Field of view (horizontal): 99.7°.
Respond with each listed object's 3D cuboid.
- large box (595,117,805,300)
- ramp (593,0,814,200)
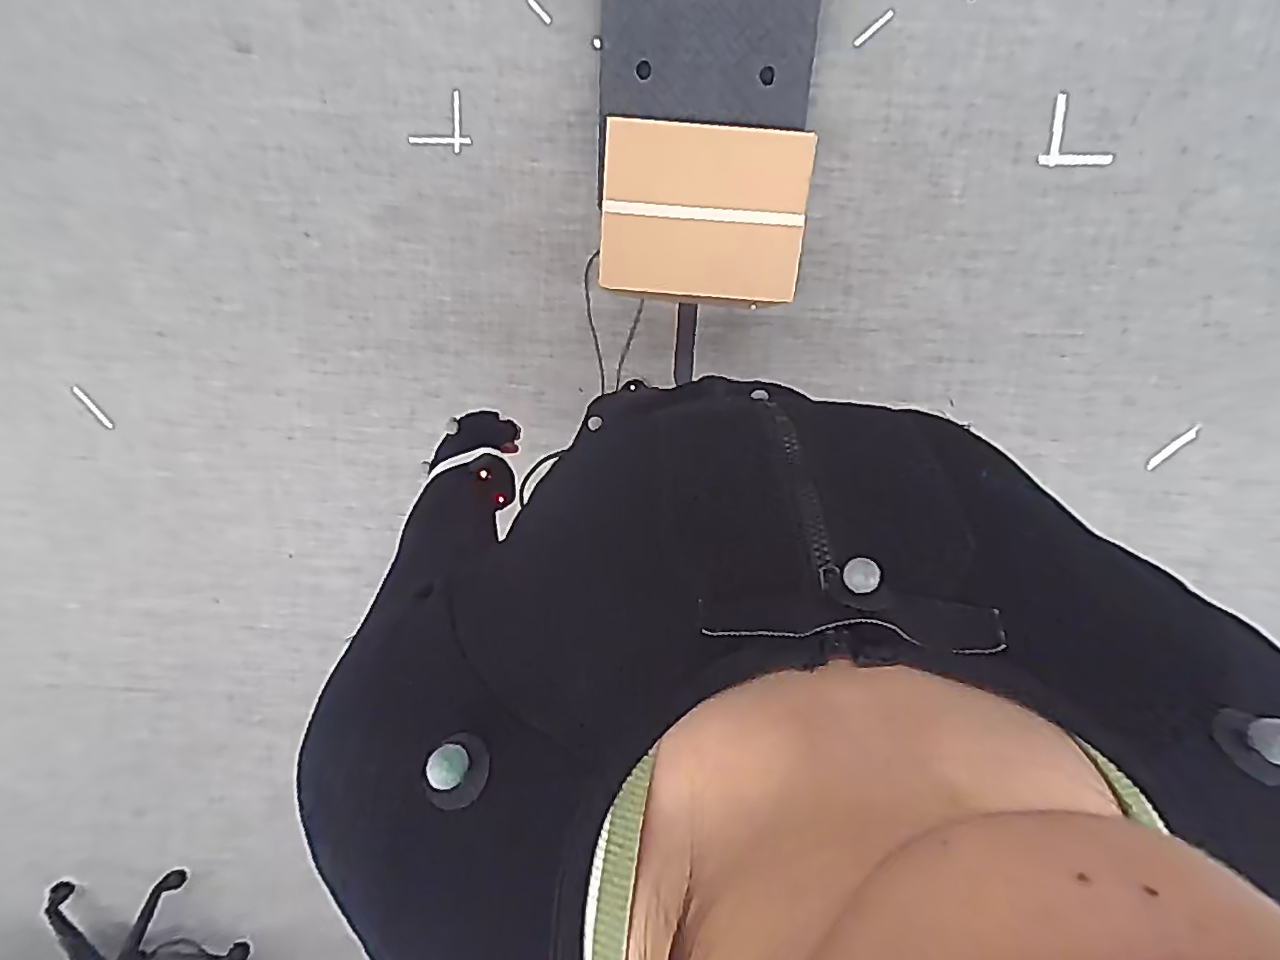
[{"bbox_3d":[0.117,-0.581,1.223,0.408,0.320,0.320,4,105,-1],"label":"large box"},{"bbox_3d":[0.149,-1.152,1.177,0.509,0.206,0.991,1,102,-1],"label":"ramp"}]
